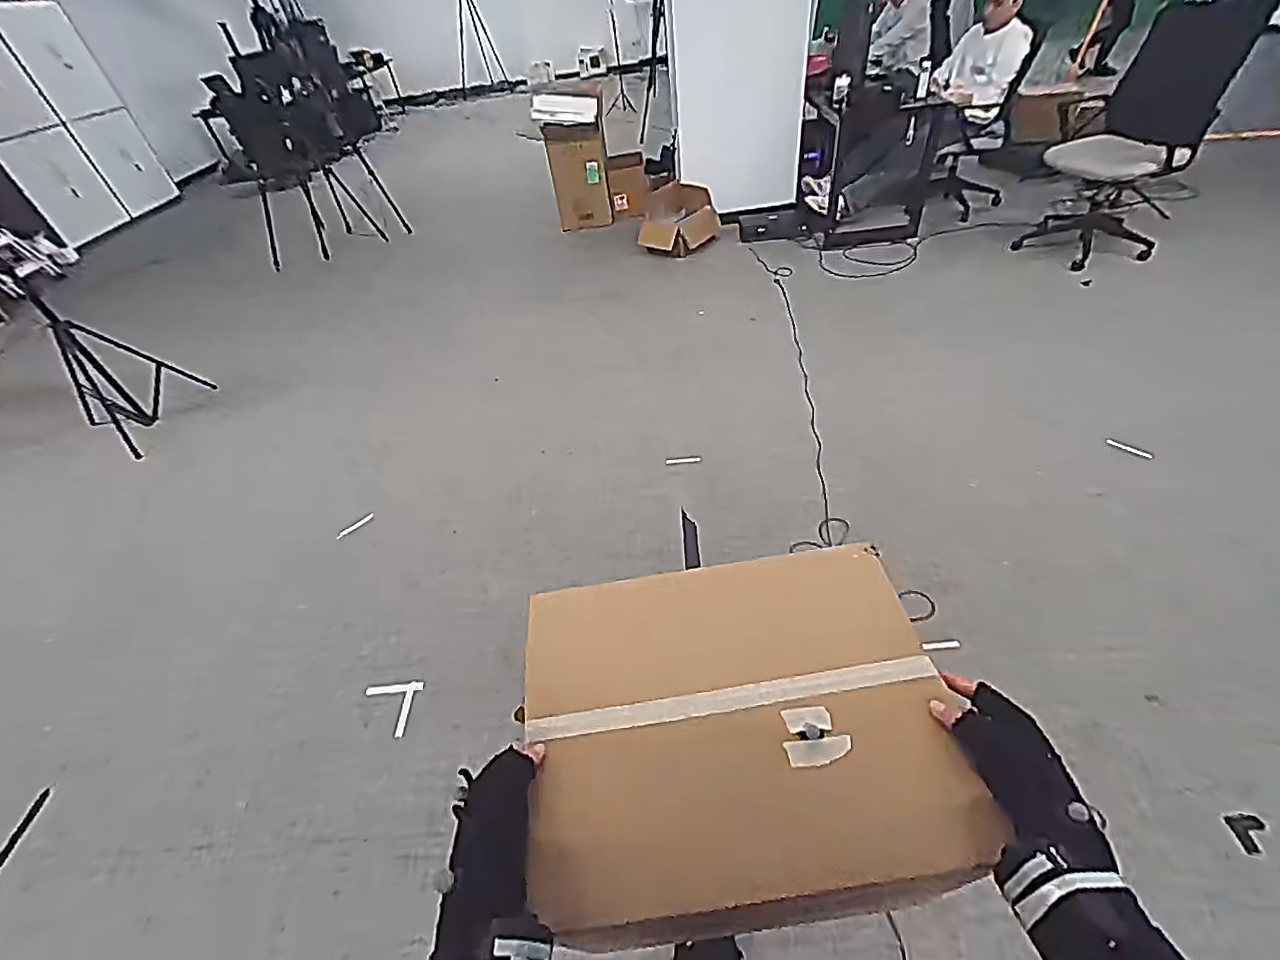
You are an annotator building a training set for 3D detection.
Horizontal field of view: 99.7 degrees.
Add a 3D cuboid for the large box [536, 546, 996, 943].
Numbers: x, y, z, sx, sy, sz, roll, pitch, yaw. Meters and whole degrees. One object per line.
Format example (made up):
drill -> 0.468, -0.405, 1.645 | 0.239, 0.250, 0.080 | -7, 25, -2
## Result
large box -> 0.104, 0.324, 0.662 | 0.408, 0.320, 0.320 | -9, 47, 0
